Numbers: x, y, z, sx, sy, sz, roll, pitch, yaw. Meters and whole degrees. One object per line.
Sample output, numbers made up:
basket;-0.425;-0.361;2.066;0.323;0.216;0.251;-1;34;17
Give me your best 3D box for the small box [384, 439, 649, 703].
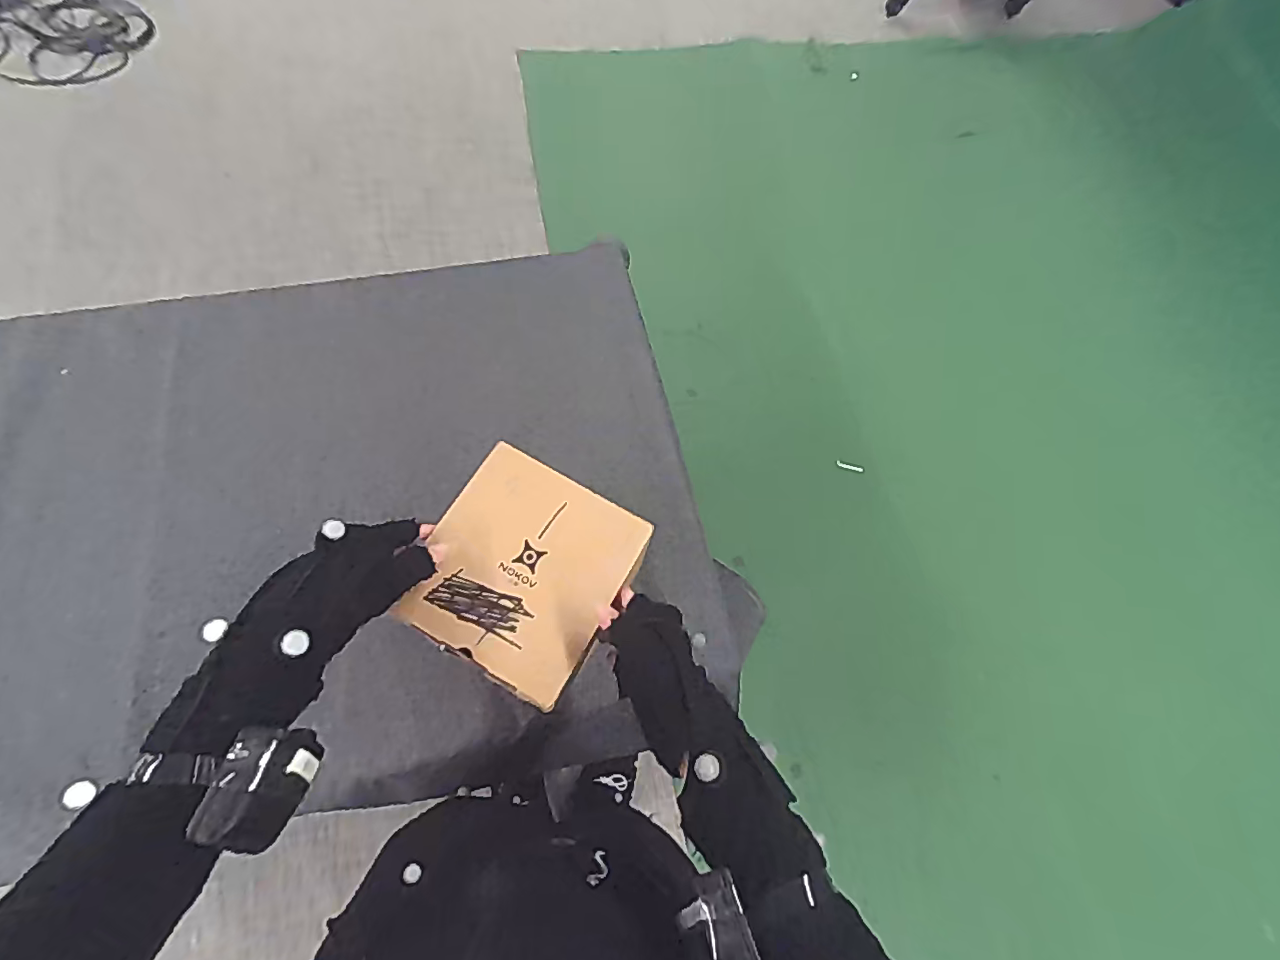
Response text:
small box;-0.106;0.097;0.534;0.168;0.176;0.179;27;69;5
